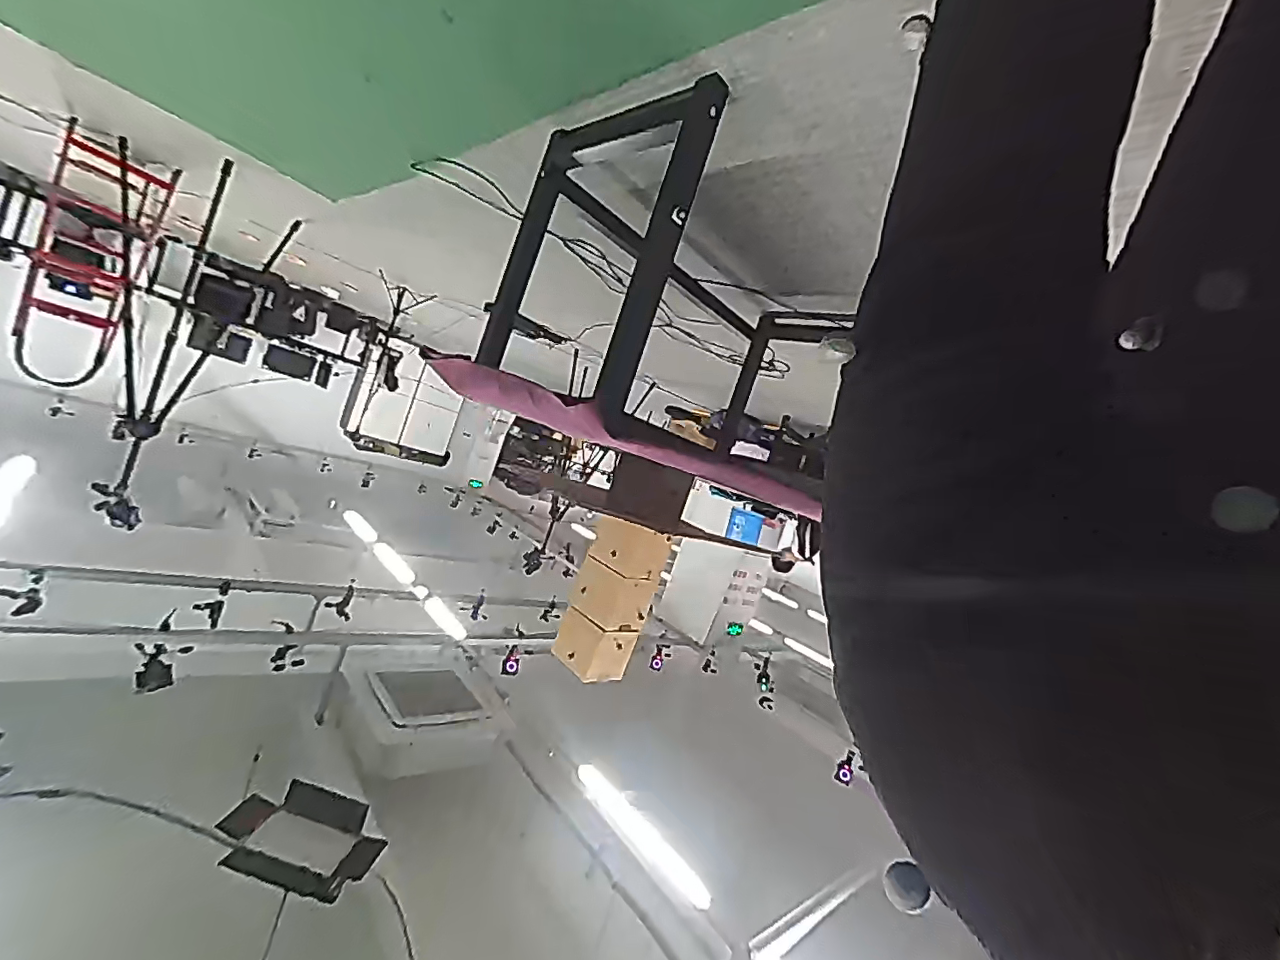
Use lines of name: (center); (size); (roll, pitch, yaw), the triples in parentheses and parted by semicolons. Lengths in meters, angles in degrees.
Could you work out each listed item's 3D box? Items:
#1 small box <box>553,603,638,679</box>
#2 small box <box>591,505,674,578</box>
small box: (-0.135, 0.490, 1.673); (0.179, 0.176, 0.168); (24, -176, 43)
small box: (-0.015, 0.186, 1.656); (0.179, 0.176, 0.168); (24, -176, 42)
